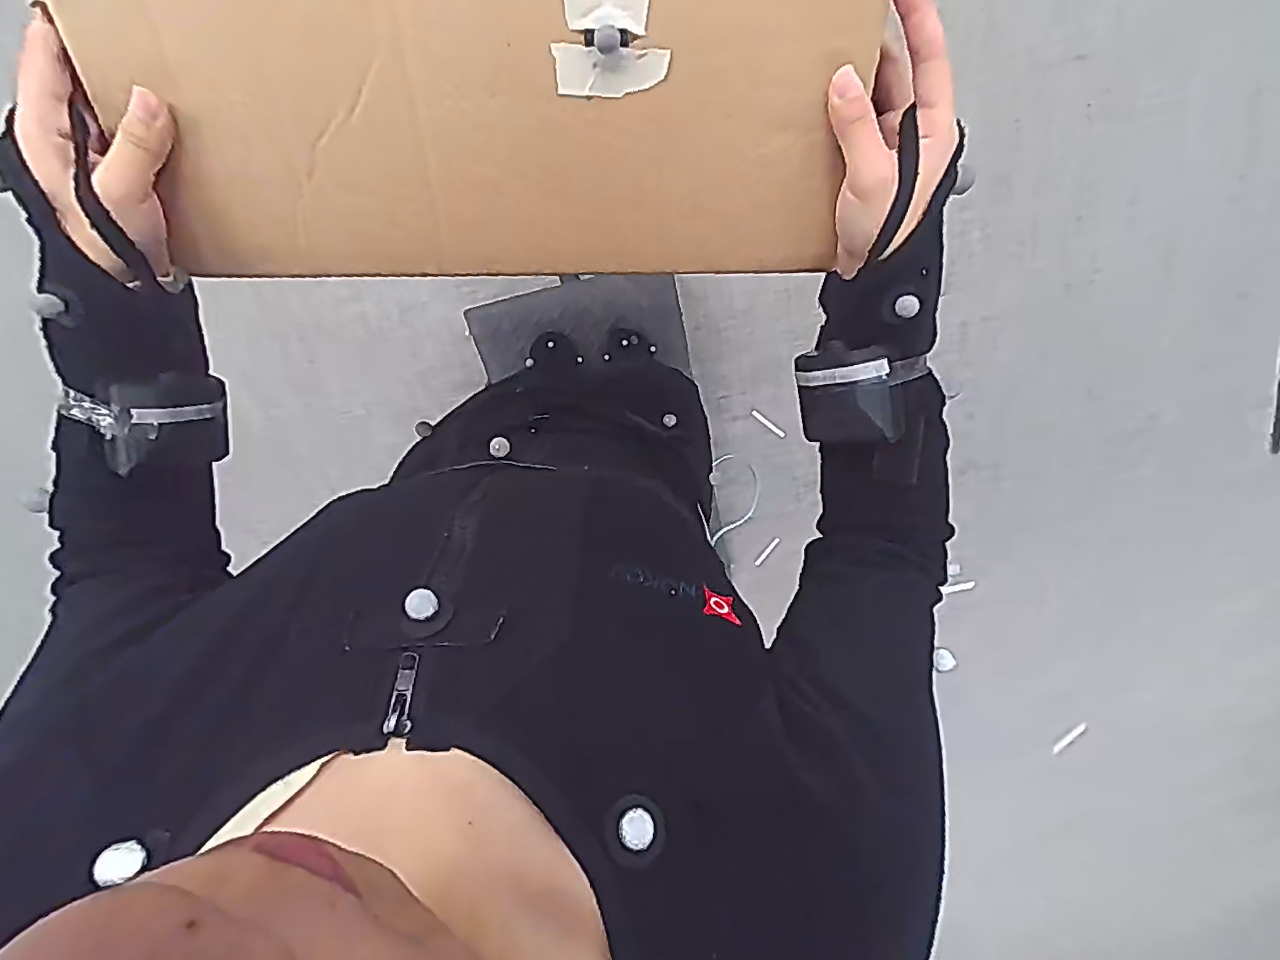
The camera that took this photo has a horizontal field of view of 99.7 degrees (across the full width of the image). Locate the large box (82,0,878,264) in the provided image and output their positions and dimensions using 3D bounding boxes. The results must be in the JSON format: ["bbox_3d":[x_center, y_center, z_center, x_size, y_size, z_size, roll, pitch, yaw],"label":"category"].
[{"bbox_3d":[-0.081,-0.348,0.380,0.408,0.320,0.320,-1,123,-1],"label":"large box"}]

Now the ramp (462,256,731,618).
[{"bbox_3d":[-0.059,-0.037,1.456,0.509,0.206,0.991,-14,109,4],"label":"ramp"}]
